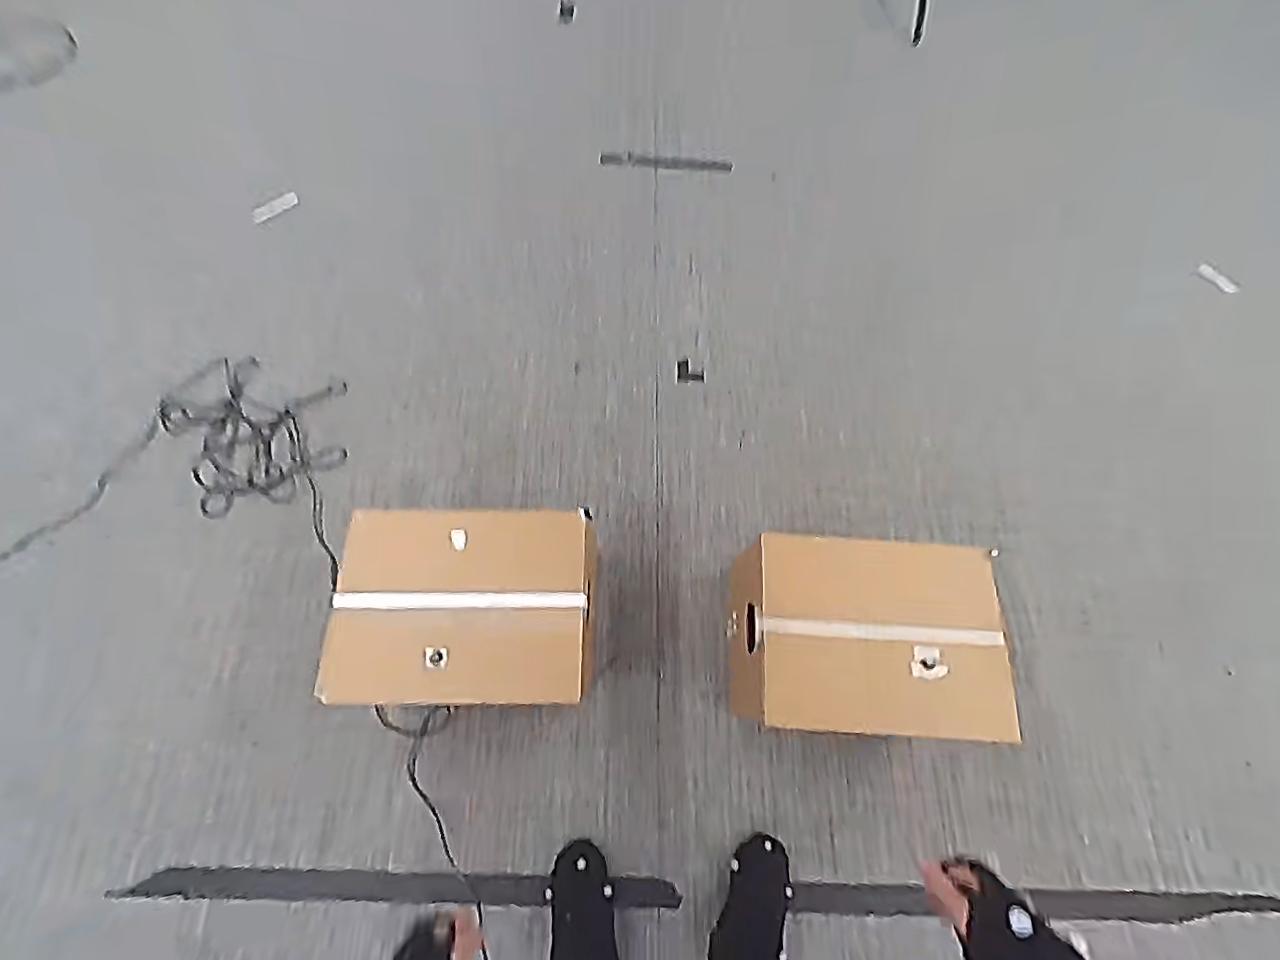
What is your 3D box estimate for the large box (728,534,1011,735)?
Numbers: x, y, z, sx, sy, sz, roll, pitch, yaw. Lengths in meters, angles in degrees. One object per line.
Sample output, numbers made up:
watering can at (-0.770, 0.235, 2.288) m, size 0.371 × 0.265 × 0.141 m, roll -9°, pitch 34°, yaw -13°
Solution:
large box at (0.396, 0.304, 1.048) m, size 0.408 × 0.320 × 0.320 m, roll 4°, pitch 70°, yaw -1°
